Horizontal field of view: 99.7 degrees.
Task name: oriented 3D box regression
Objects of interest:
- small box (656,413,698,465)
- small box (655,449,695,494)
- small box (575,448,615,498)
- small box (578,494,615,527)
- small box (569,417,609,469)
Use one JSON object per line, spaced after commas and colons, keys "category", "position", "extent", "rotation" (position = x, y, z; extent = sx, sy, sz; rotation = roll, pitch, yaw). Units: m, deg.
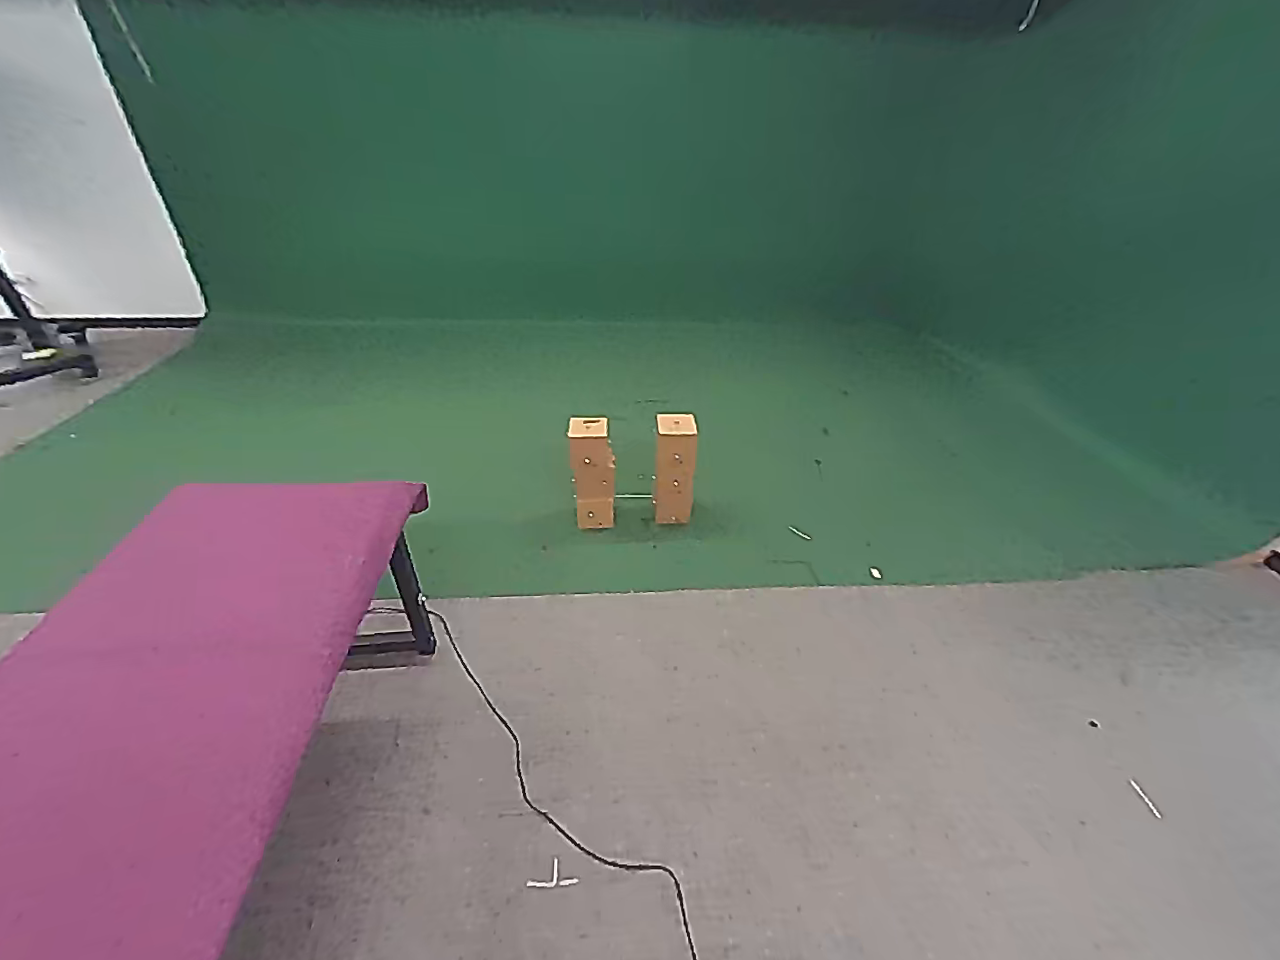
{"category": "small box", "position": [0.162, -0.183, 2.415], "extent": [0.168, 0.176, 0.179], "rotation": [0, 37, -2]}
{"category": "small box", "position": [0.161, -0.048, 2.510], "extent": [0.168, 0.176, 0.179], "rotation": [0, 37, -4]}
{"category": "small box", "position": [-0.207, -0.030, 2.477], "extent": [0.179, 0.176, 0.168], "rotation": [-3, 35, -6]}
{"category": "small box", "position": [-0.208, 0.111, 2.558], "extent": [0.168, 0.176, 0.179], "rotation": [-3, 35, -6]}
{"category": "small box", "position": [-0.221, -0.165, 2.383], "extent": [0.168, 0.176, 0.179], "rotation": [-1, 35, -2]}
